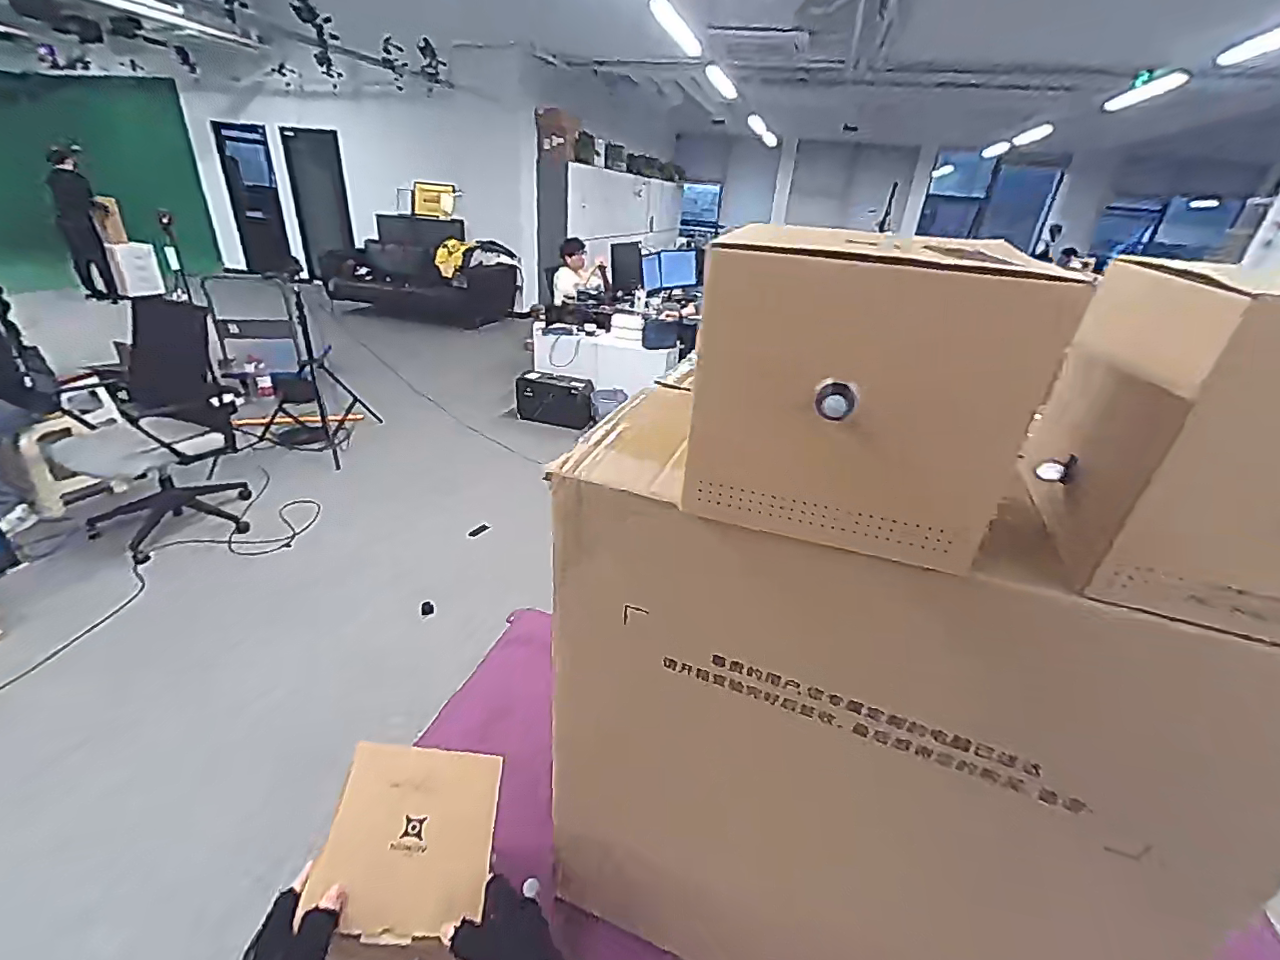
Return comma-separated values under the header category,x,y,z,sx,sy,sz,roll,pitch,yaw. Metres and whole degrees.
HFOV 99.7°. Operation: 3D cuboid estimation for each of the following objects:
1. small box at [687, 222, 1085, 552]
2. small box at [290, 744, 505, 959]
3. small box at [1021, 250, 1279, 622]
category,x,y,z,sx,sy,sz,roll,pitch,yaw
small box,0.139,-0.072,0.366,0.179,0.176,0.168,11,29,15
small box,-0.256,0.423,0.592,0.168,0.176,0.179,15,32,-16
small box,0.360,-0.031,0.317,0.168,0.176,0.179,14,31,17
